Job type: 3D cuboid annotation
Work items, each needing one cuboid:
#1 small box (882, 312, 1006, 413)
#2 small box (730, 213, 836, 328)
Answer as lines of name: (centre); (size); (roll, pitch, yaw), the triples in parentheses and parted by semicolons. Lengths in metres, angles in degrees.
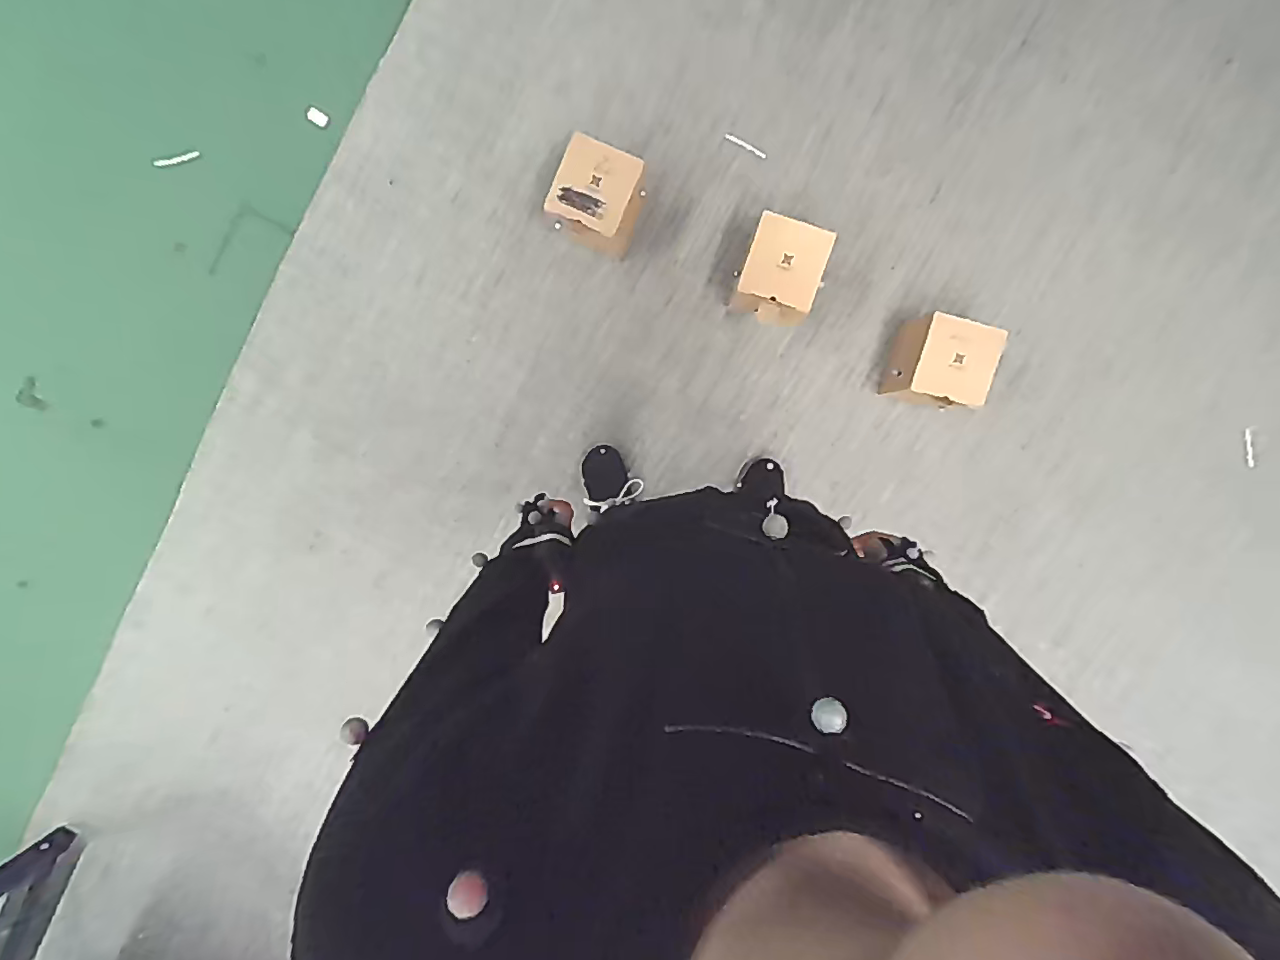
small box: (0.678, -0.257, 1.230); (0.168, 0.176, 0.179); (15, 94, -1)
small box: (0.312, -0.464, 1.225); (0.168, 0.176, 0.179); (18, 96, 0)
